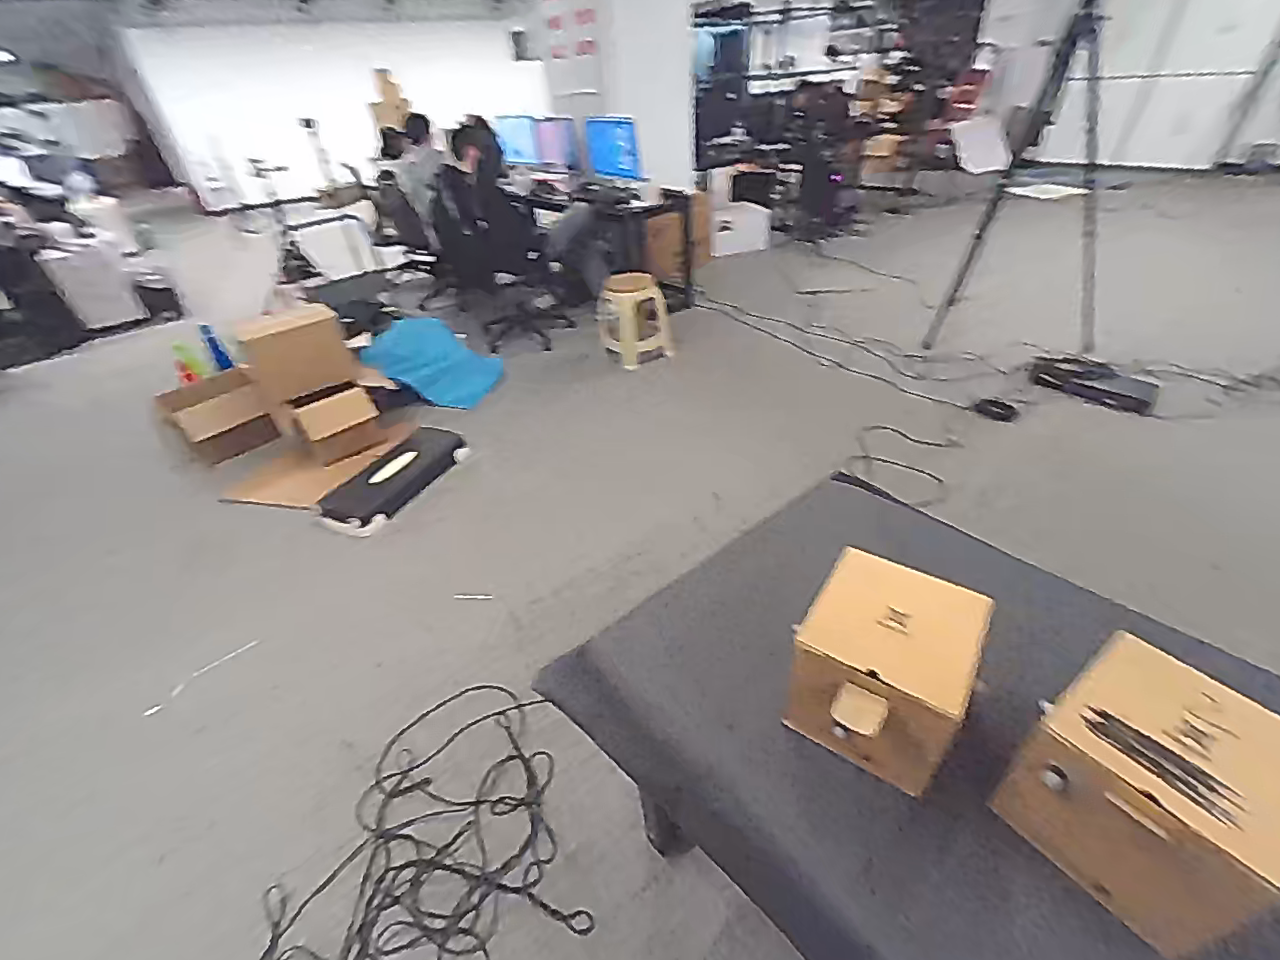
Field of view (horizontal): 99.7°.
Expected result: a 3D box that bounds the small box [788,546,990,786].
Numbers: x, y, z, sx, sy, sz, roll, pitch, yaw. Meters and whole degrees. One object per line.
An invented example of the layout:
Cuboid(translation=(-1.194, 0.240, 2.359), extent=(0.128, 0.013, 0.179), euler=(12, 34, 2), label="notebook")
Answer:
Cuboid(translation=(0.290, 0.217, 0.650), extent=(0.168, 0.176, 0.179), euler=(20, 44, 30), label="small box")
